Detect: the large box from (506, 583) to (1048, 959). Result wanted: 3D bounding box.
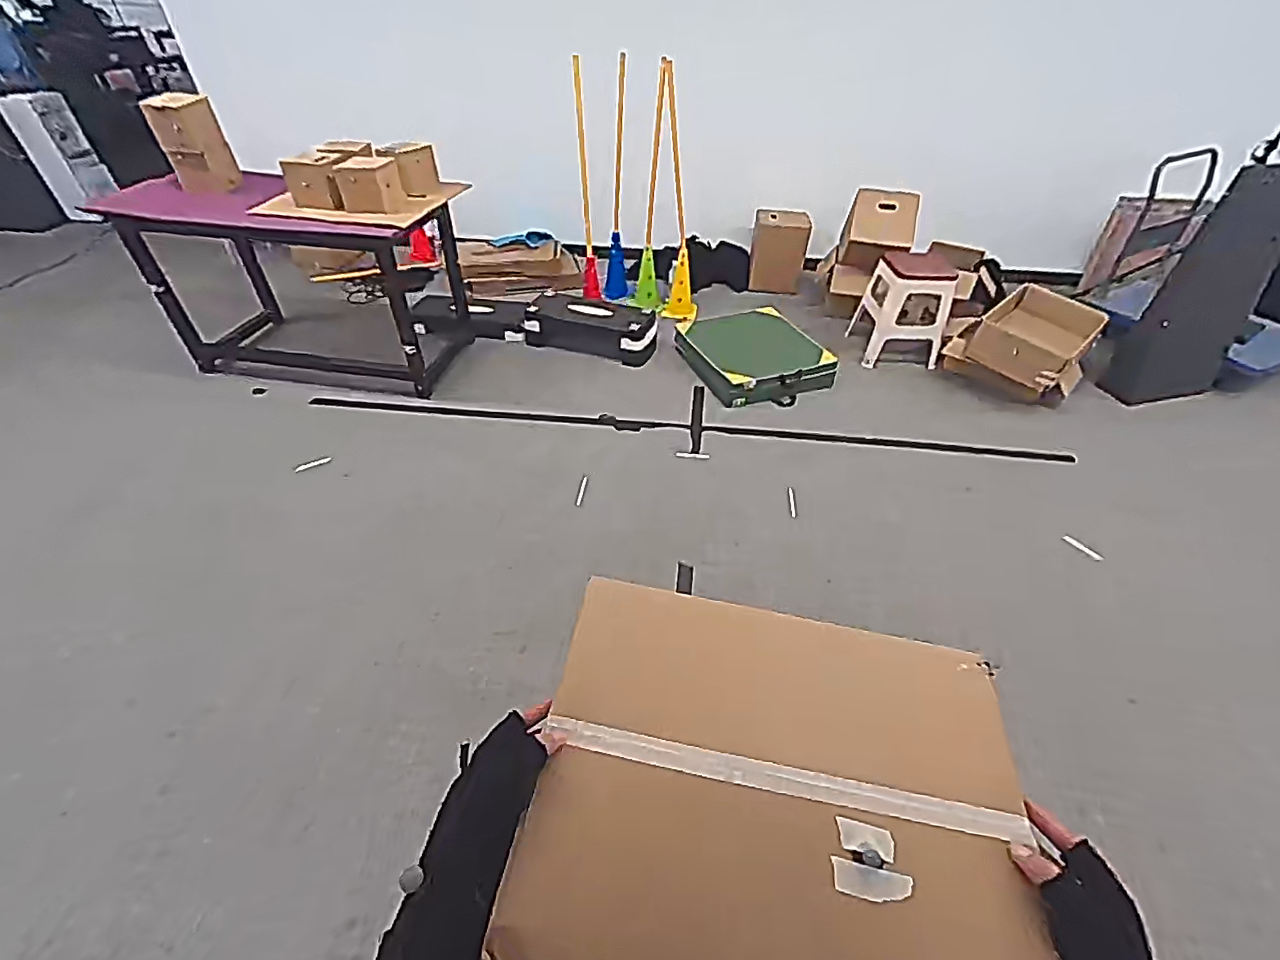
[{"bbox_3d":[0.109,0.352,0.580,0.408,0.320,0.320,10,49,4],"label":"large box"}]
